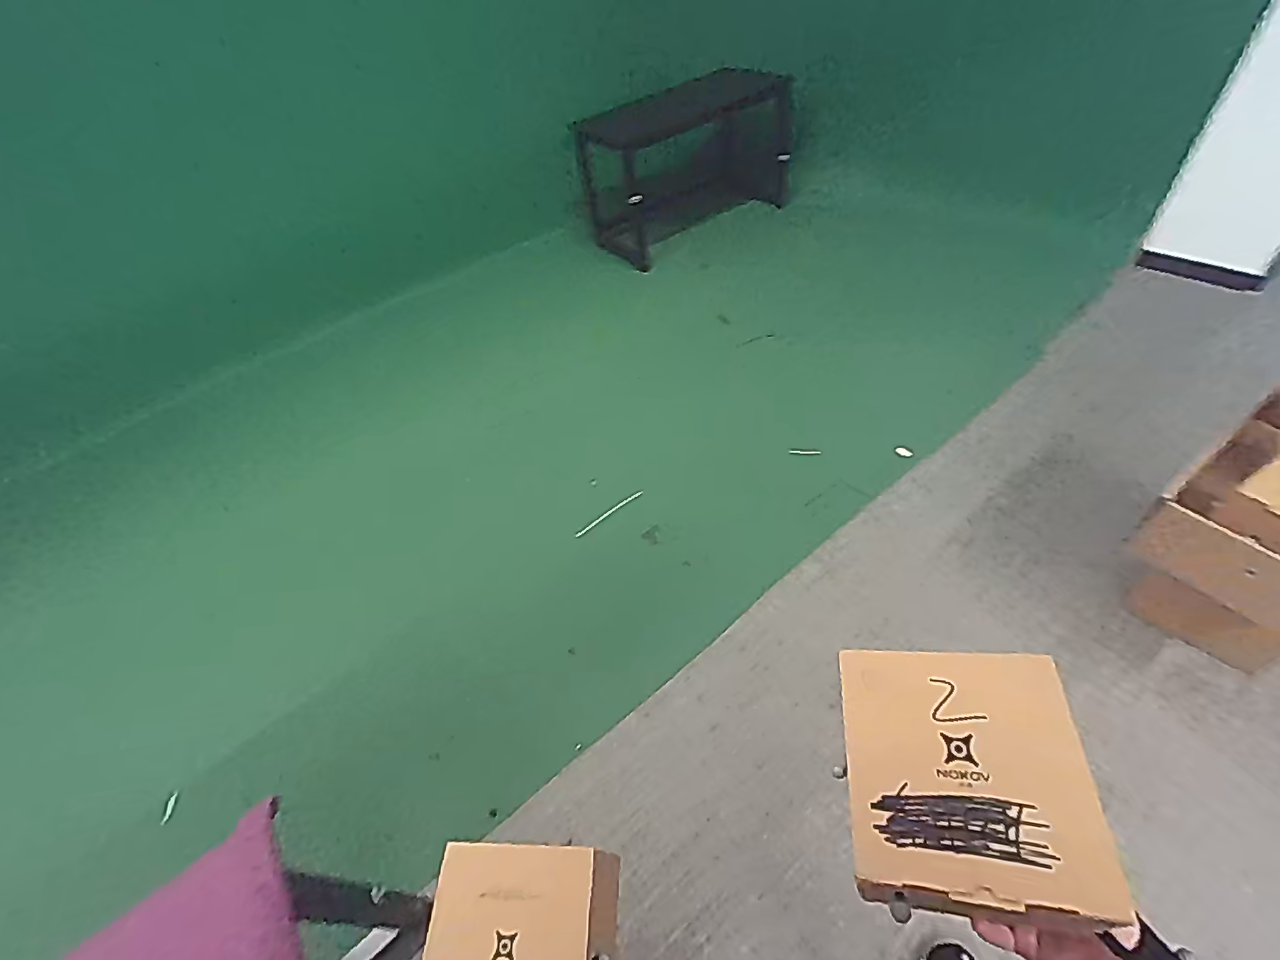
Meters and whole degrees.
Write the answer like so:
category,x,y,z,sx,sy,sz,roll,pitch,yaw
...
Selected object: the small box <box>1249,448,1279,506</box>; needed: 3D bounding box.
category,x,y,z,sx,sy,sz,roll,pitch,yaw
small box,1.598,-0.030,1.257,0.179,0.176,0.168,-34,50,-17
